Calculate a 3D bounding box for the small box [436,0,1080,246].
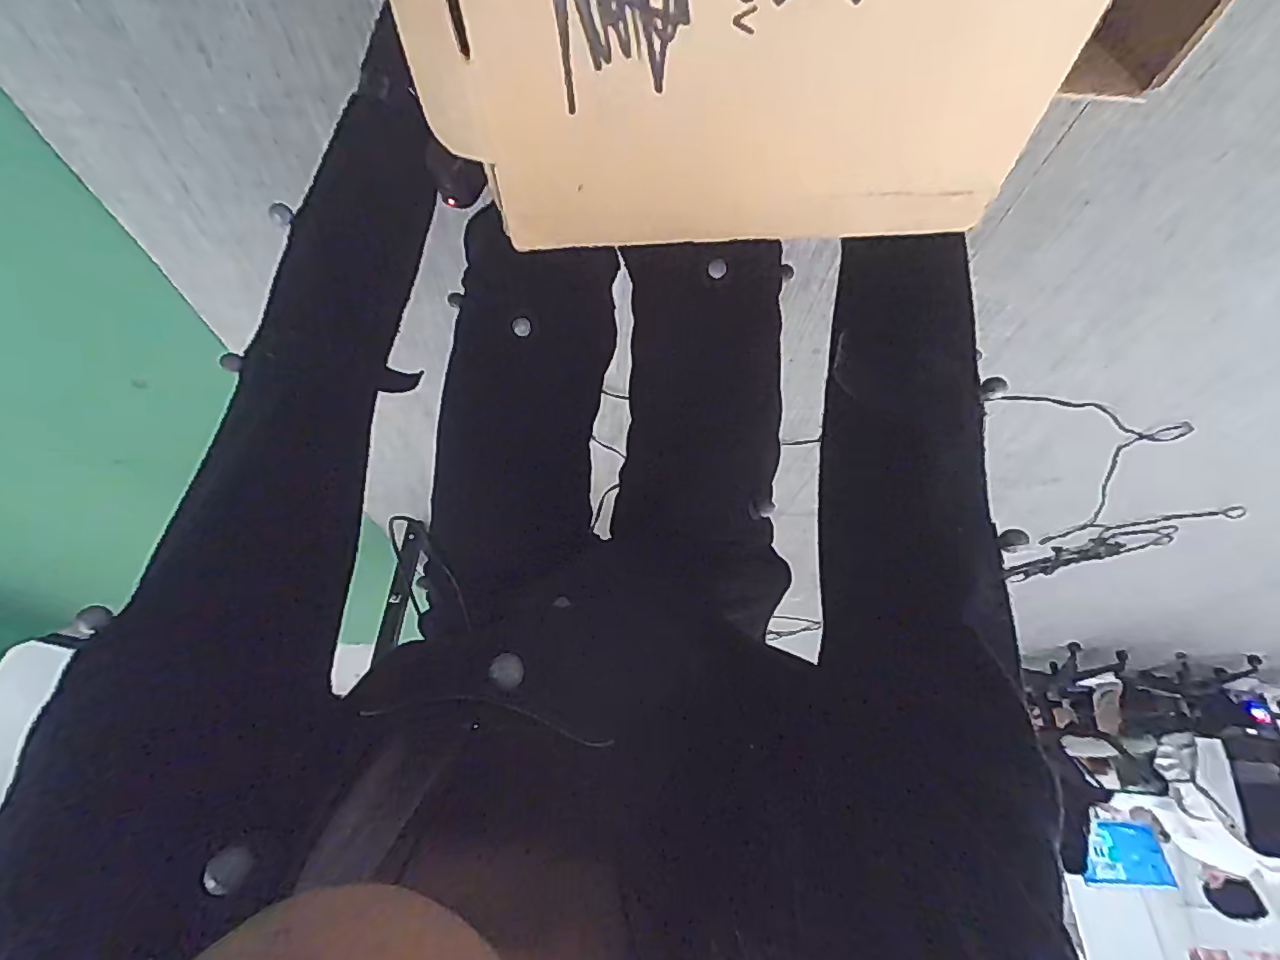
[{"bbox_3d":[0.030,-0.202,0.176,0.179,0.176,0.168,-3,150,0],"label":"small box"}]
